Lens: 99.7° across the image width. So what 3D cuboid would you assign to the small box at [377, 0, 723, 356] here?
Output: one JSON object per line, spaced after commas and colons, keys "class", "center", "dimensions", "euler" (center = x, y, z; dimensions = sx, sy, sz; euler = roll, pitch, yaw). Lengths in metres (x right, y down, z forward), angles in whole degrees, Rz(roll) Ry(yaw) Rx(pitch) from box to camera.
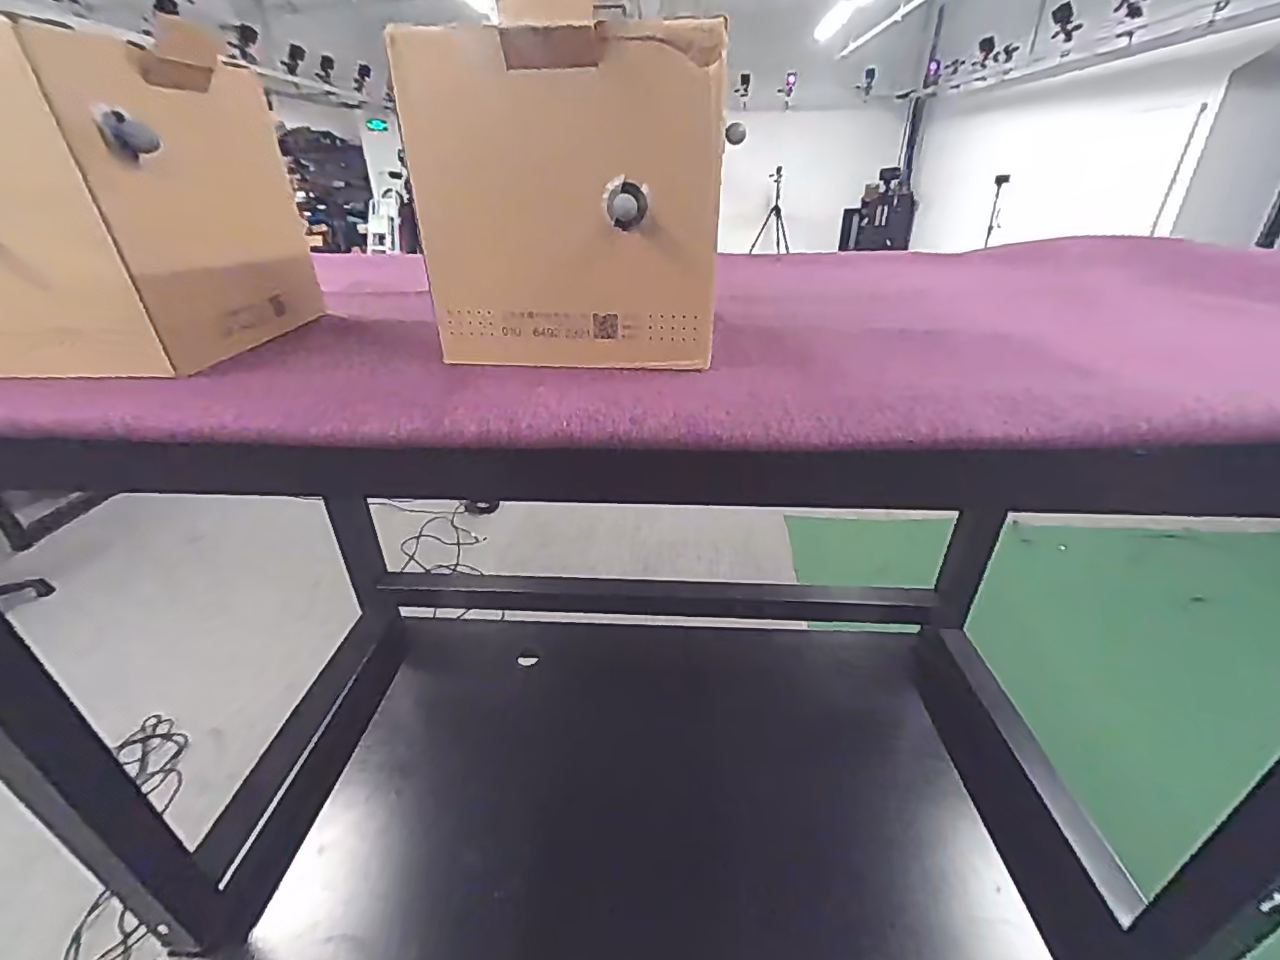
{"class": "small box", "center": [-0.033, -0.185, 0.354], "dimensions": [0.168, 0.176, 0.179], "euler": [3, 29, 5]}
